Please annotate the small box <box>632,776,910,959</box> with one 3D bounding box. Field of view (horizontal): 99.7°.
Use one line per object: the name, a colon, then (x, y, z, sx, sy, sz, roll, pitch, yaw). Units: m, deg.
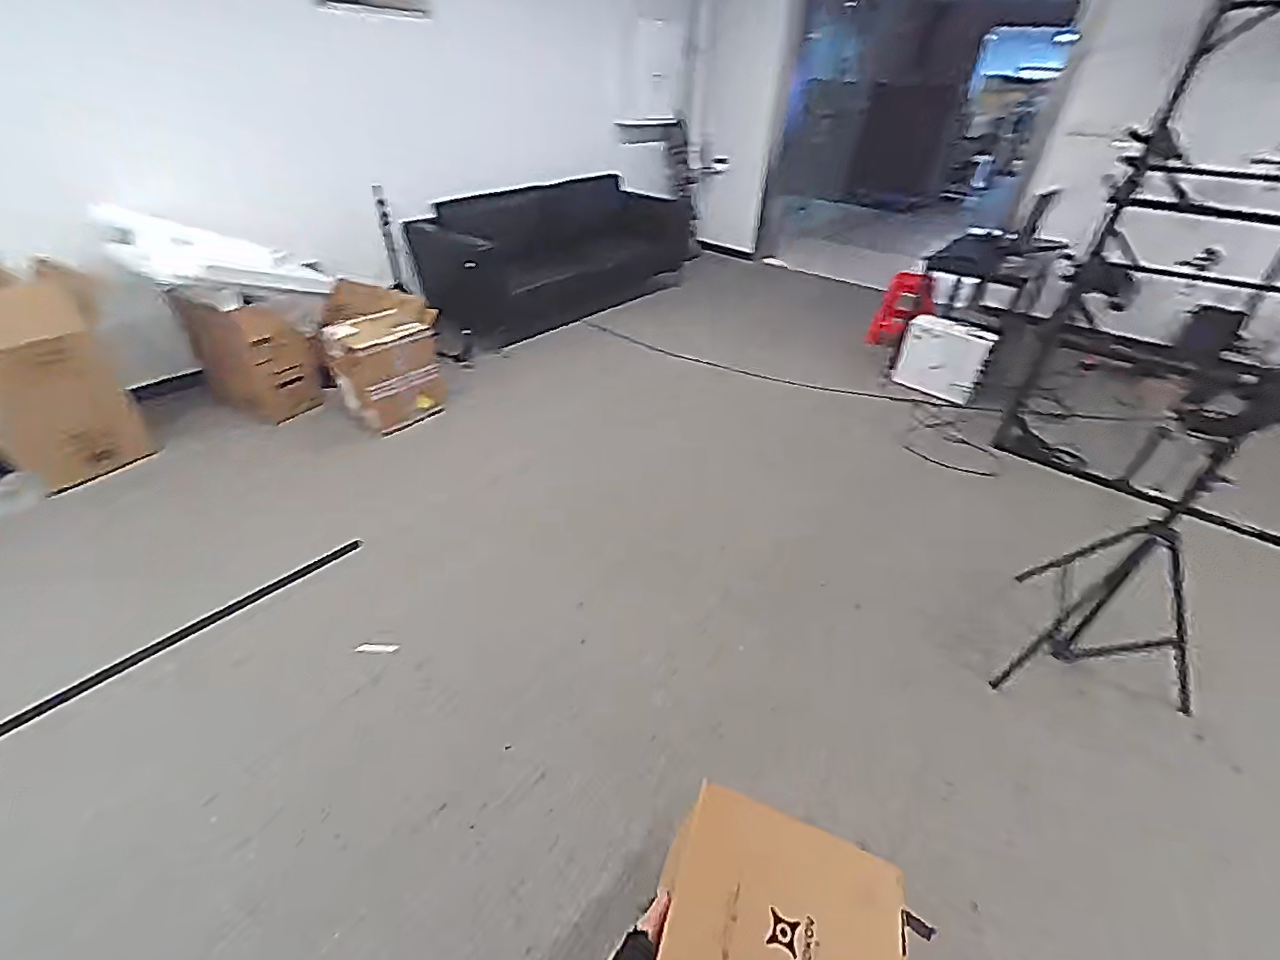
small box: (0.094, 0.387, 0.438, 0.179, 0.176, 0.168, 19, 37, 10)
